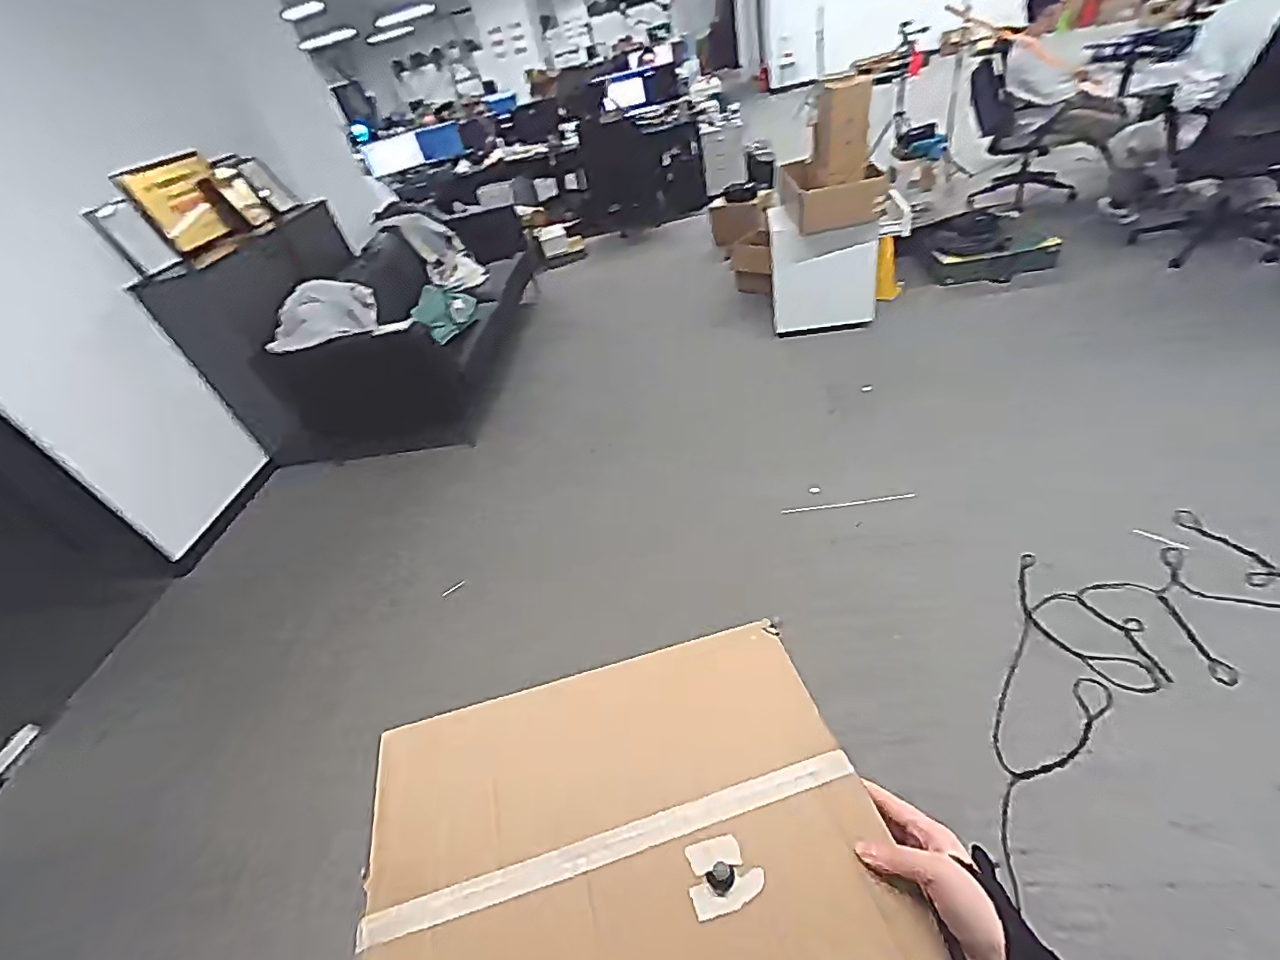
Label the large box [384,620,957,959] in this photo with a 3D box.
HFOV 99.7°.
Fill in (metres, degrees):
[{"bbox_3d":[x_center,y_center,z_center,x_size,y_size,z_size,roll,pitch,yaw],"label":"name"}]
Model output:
[{"bbox_3d":[0.001,0.404,0.547,0.408,0.320,0.320,-12,42,-9],"label":"large box"}]
